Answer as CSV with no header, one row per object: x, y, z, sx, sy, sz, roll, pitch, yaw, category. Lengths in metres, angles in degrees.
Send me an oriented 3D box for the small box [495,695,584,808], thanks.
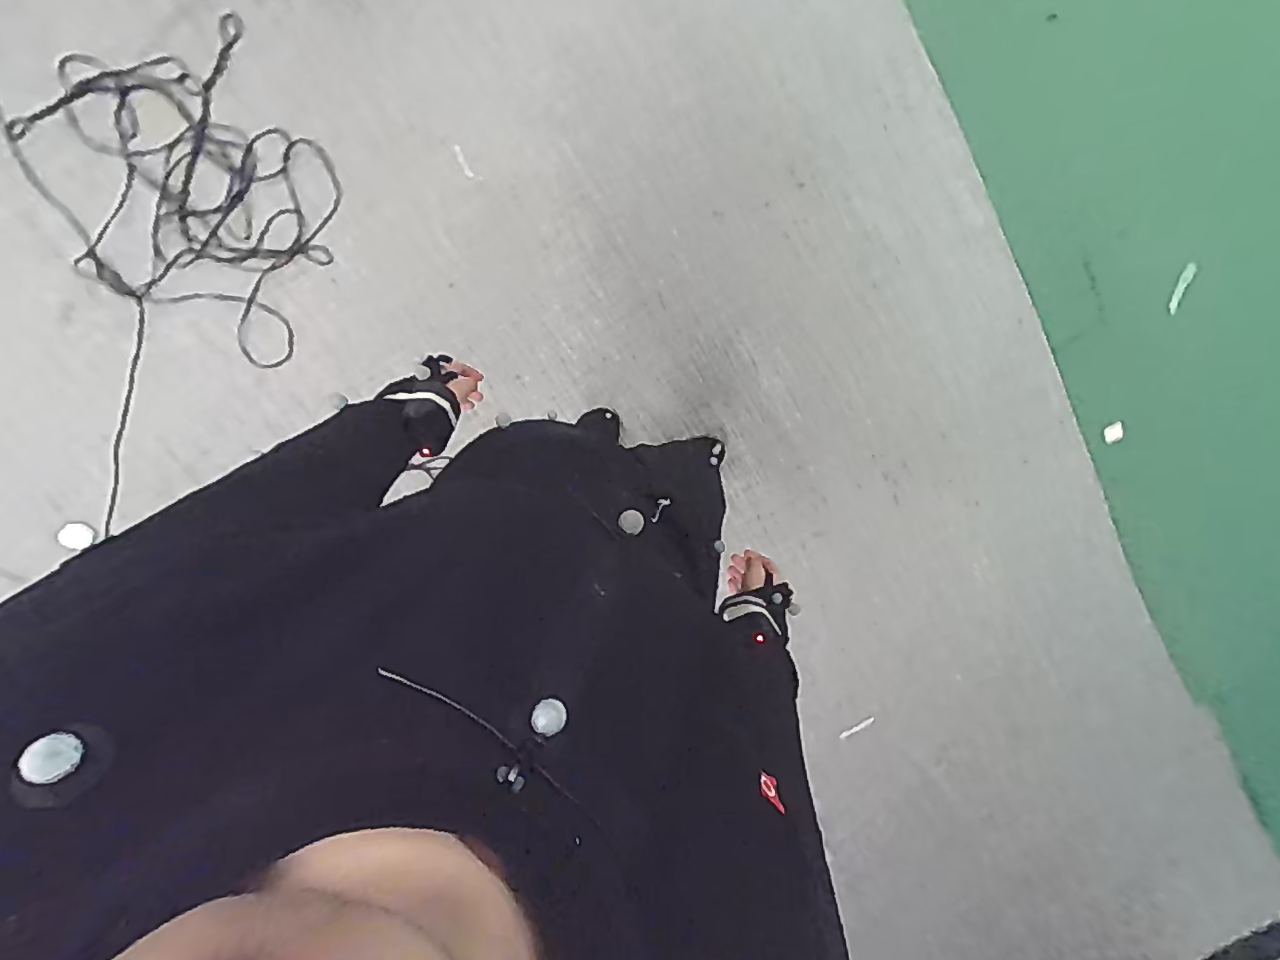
-0.253,0.705,1.418,0.168,0.176,0.179,-20,102,3,small box
